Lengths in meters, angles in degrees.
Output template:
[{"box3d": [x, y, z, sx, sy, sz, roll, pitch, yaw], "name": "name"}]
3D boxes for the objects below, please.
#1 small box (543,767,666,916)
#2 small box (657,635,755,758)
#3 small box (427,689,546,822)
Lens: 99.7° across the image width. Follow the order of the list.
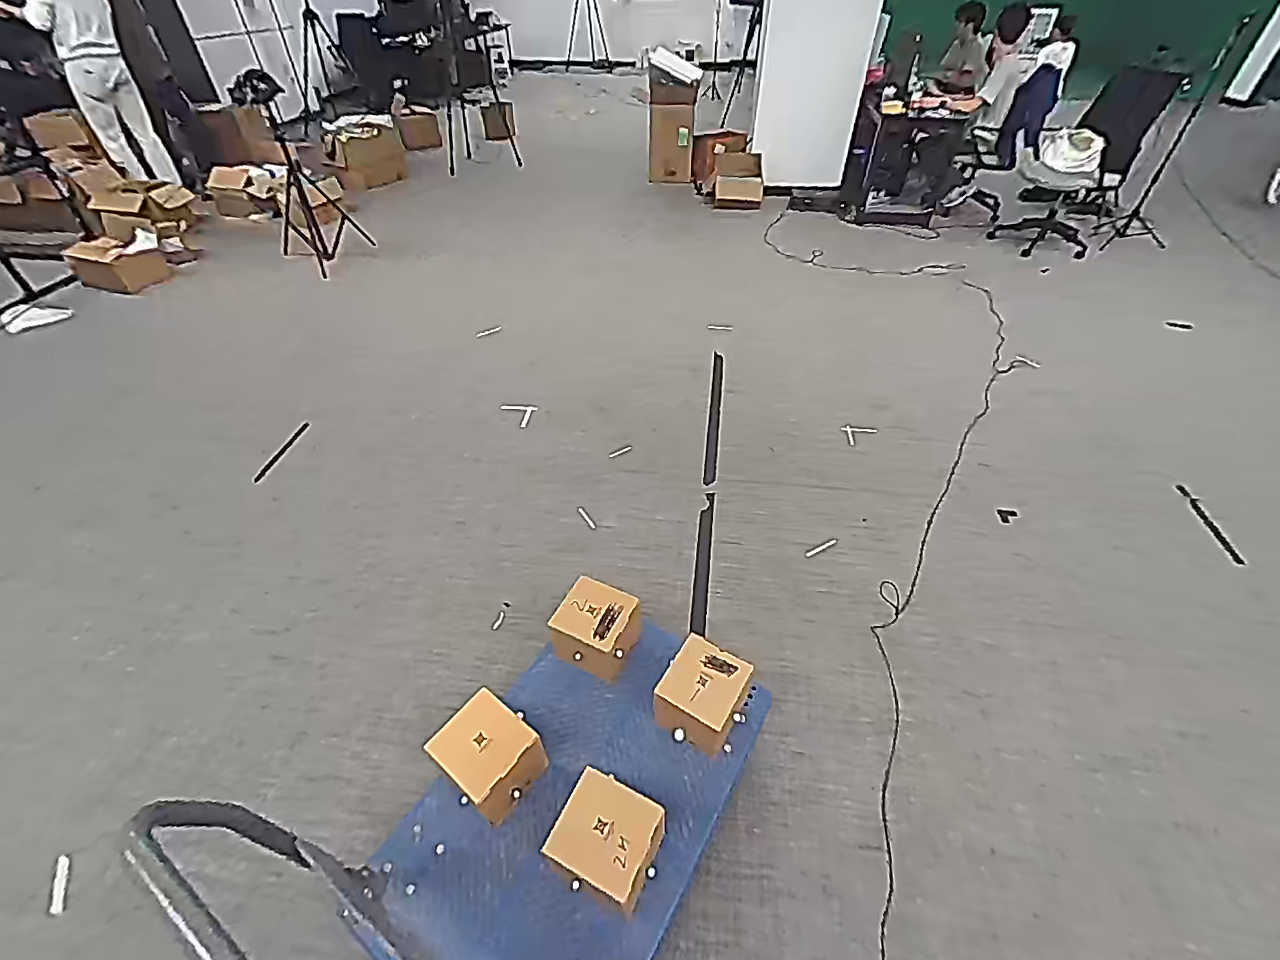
[{"box3d": [-0.063, 0.707, 1.055, 0.179, 0.176, 0.168, 19, 47, 20], "name": "small box"}, {"box3d": [0.149, 0.505, 1.263, 0.168, 0.176, 0.179, 24, 50, 24], "name": "small box"}, {"box3d": [-0.326, 0.601, 1.175, 0.179, 0.176, 0.168, 28, 51, 26], "name": "small box"}]
